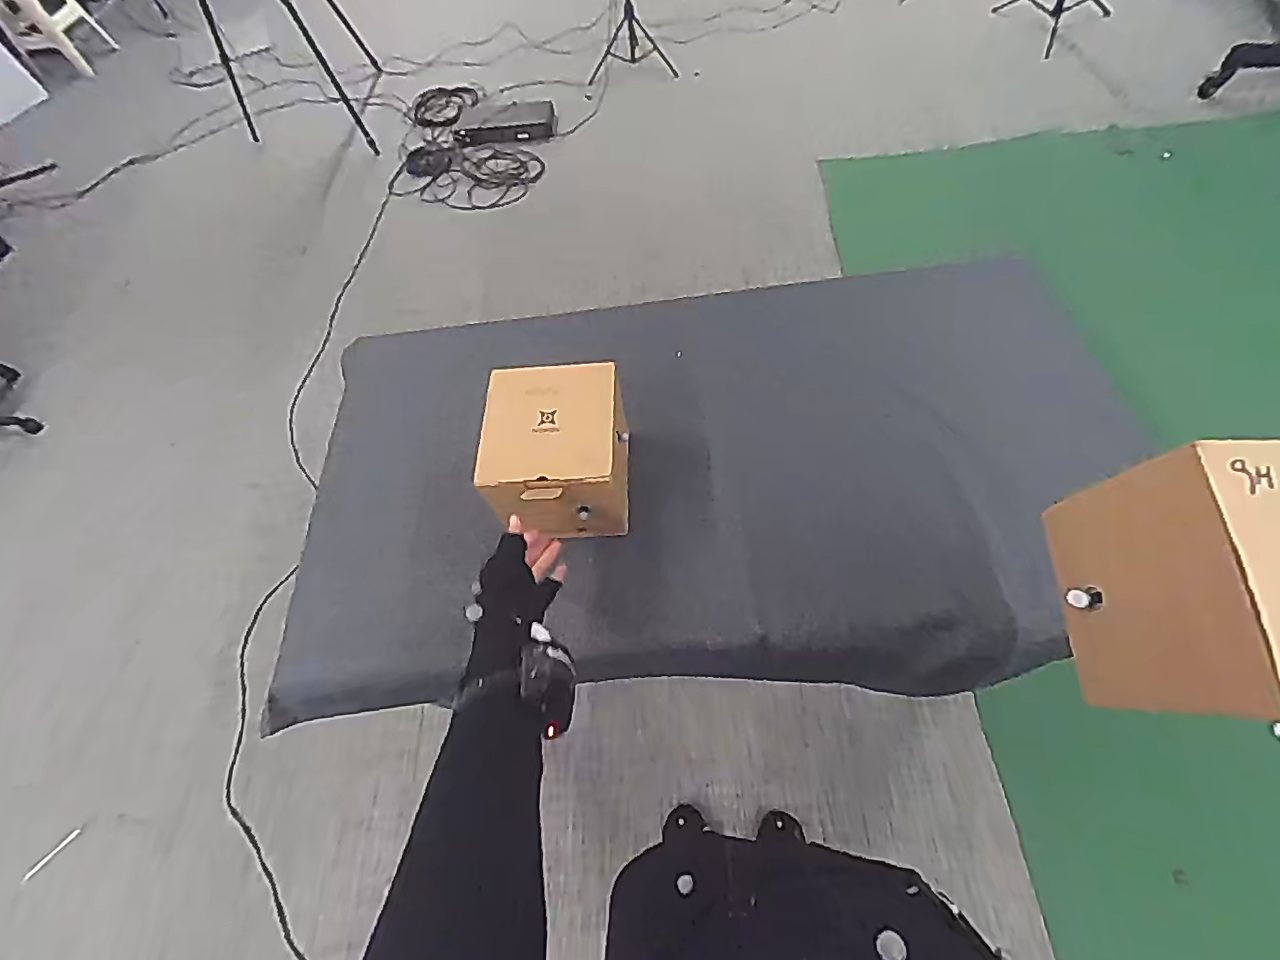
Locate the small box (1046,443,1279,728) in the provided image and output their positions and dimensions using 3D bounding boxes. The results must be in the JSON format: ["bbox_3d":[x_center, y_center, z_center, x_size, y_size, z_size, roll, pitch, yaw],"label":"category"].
[{"bbox_3d":[0.452,0.084,0.402,0.168,0.176,0.179,0,71,3],"label":"small box"}]

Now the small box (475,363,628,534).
[{"bbox_3d":[-0.106,-0.033,0.732,0.168,0.176,0.179,-3,60,3],"label":"small box"}]
